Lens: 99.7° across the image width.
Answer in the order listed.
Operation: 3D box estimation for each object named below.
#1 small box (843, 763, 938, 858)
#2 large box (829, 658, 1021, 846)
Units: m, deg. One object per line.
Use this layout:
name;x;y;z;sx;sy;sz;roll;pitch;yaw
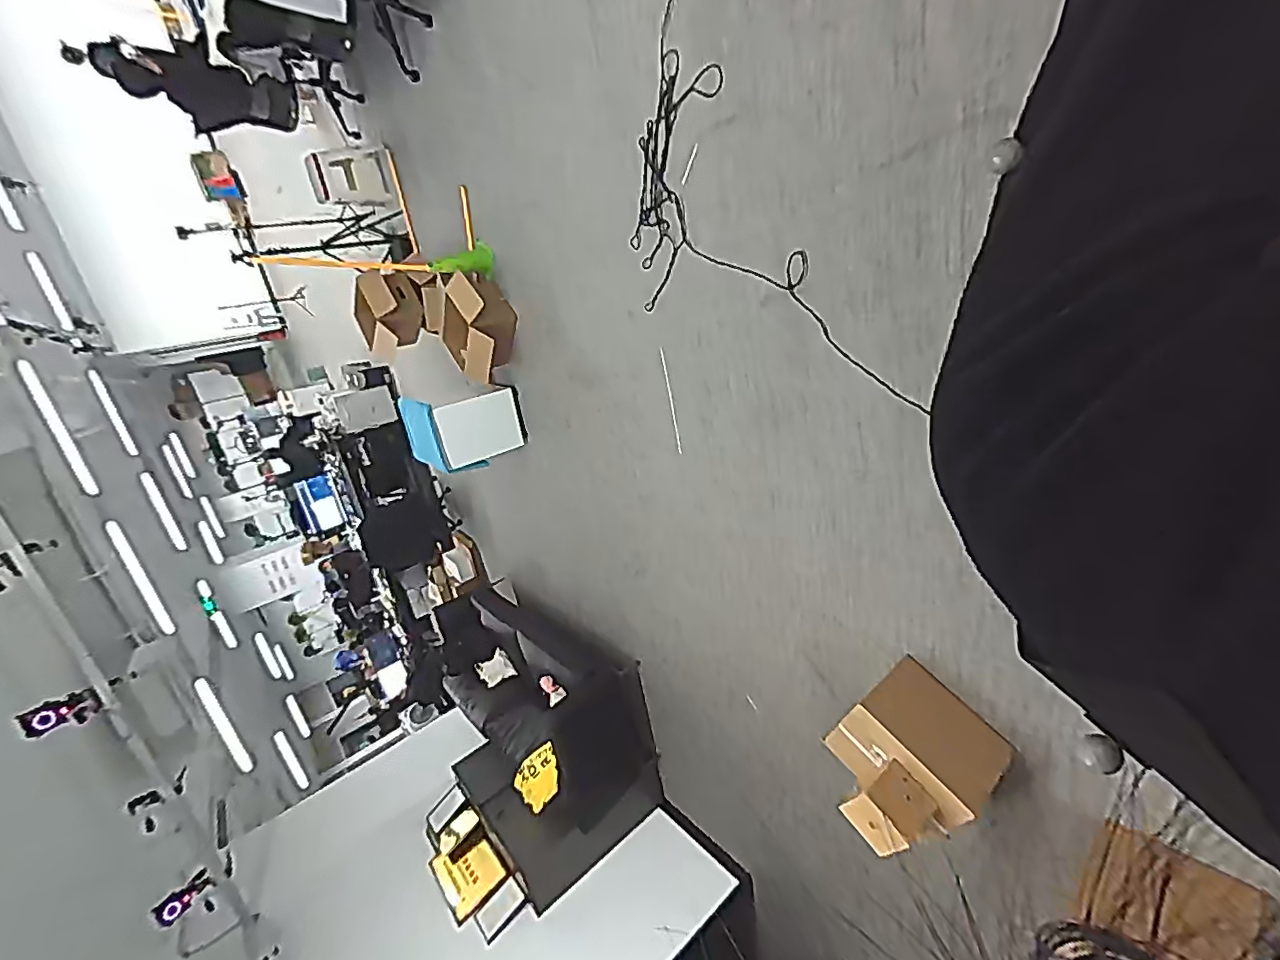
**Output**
small box;0.763;1.001;1.643;0.168;0.176;0.179;47;143;28
large box;0.926;0.887;1.791;0.408;0.320;0.320;45;141;32
